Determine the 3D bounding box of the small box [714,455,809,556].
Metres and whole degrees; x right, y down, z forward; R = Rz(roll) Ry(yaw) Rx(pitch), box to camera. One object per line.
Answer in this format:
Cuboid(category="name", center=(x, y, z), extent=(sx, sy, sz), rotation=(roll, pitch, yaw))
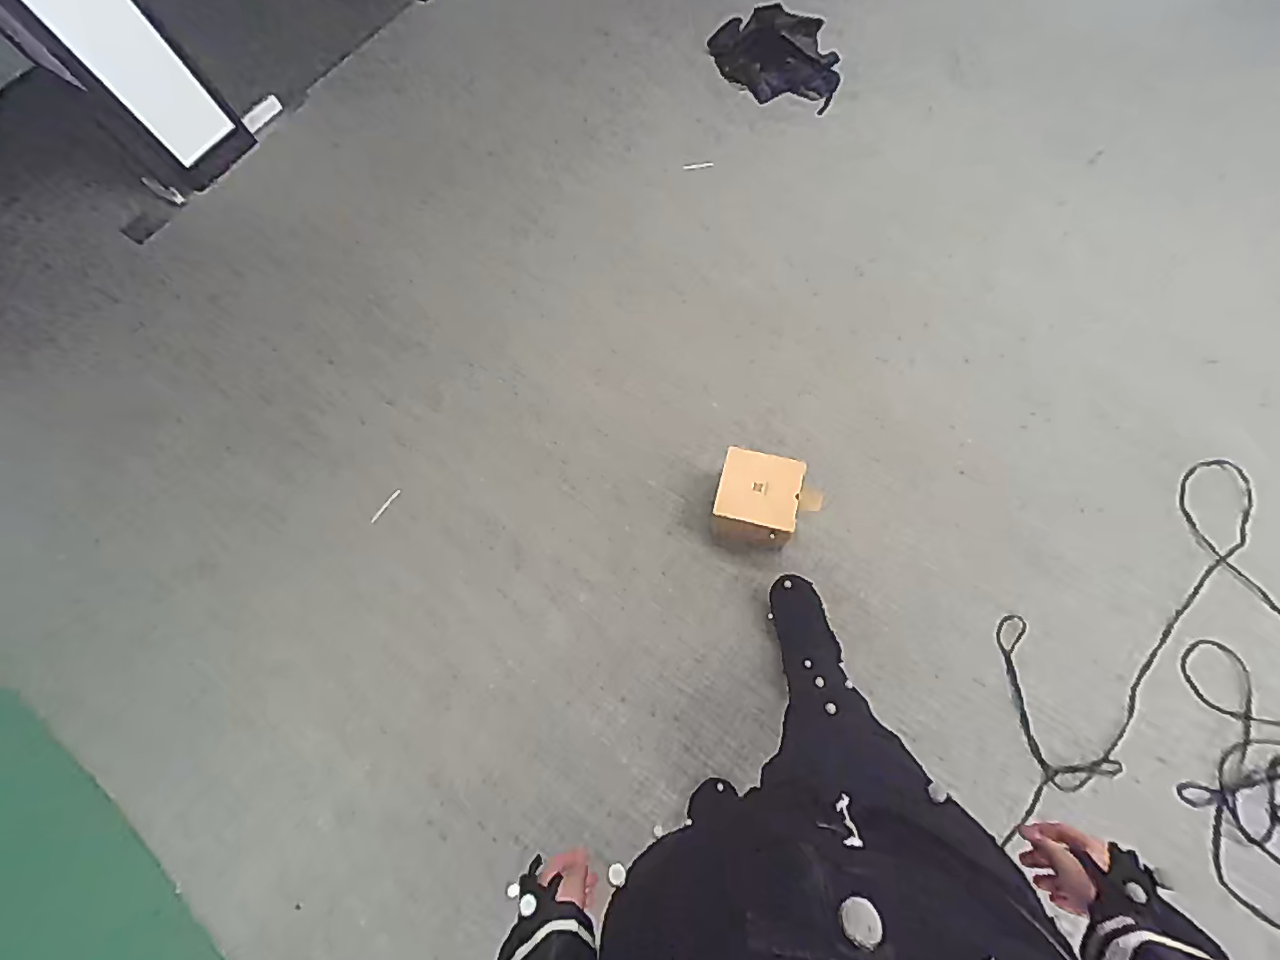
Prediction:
Cuboid(category="small box", center=(0.272, 0.063, 1.240), extent=(0.179, 0.176, 0.168), rotation=(13, 70, 10))
